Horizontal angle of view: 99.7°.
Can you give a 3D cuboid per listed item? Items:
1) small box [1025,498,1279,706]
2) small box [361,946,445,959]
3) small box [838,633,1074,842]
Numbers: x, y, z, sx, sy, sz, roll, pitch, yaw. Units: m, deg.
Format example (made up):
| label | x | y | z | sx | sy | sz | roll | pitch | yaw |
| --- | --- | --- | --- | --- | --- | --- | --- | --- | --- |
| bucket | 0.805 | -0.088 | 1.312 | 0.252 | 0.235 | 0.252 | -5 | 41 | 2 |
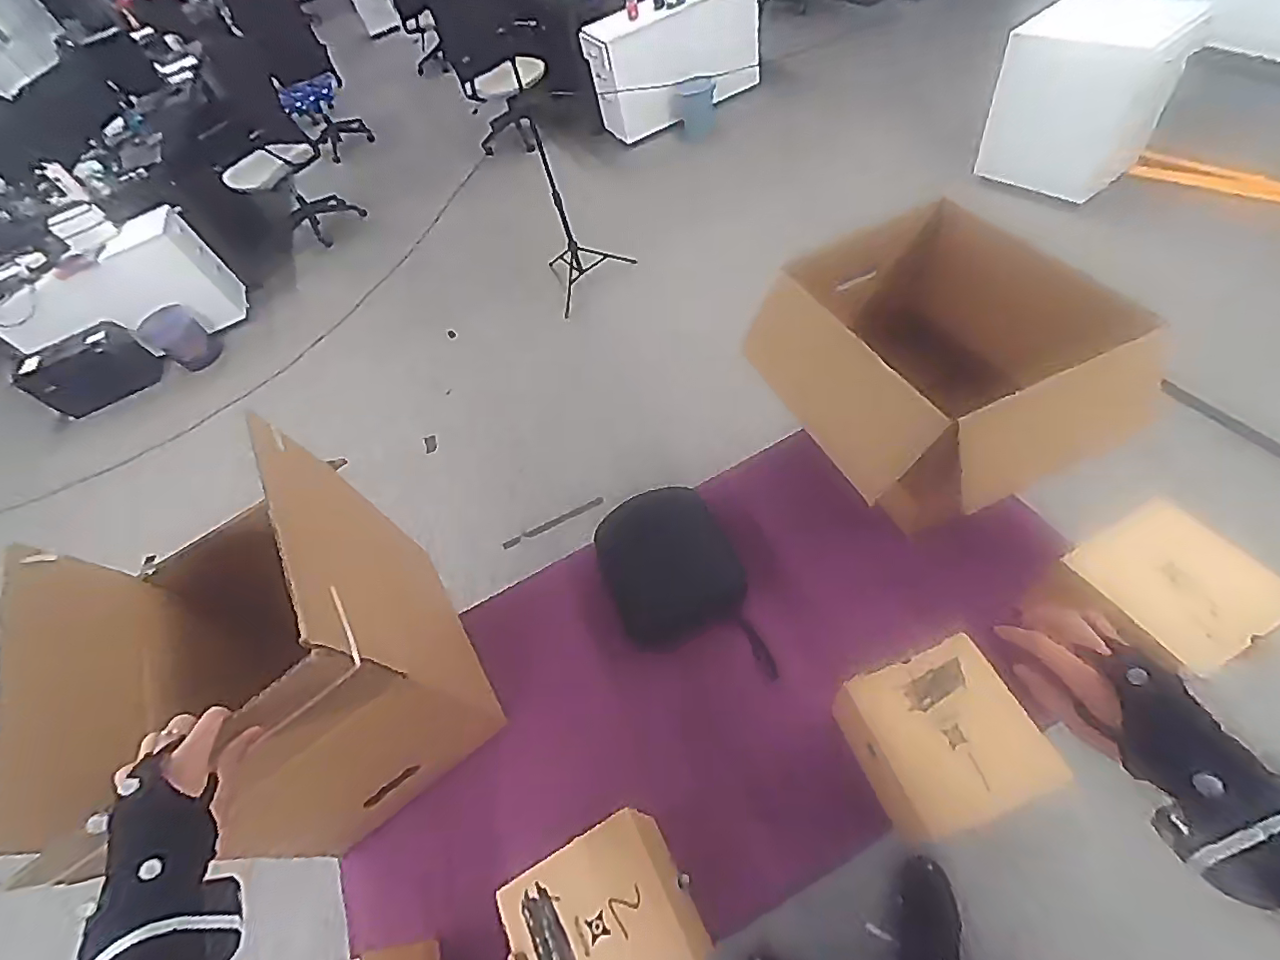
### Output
| label | x | y | z | sx | sy | sz | roll | pitch | yaw |
| --- | --- | --- | --- | --- | --- | --- | --- | --- | --- |
| small box | 0.657 | 0.163 | 0.705 | 0.168 | 0.176 | 0.179 | -29 | 53 | -5 |
| small box | -0.332 | 0.674 | 0.615 | 0.179 | 0.176 | 0.168 | -26 | 53 | -5 |
| small box | 0.367 | 0.324 | 0.673 | 0.168 | 0.176 | 0.179 | -23 | 54 | -1 |
